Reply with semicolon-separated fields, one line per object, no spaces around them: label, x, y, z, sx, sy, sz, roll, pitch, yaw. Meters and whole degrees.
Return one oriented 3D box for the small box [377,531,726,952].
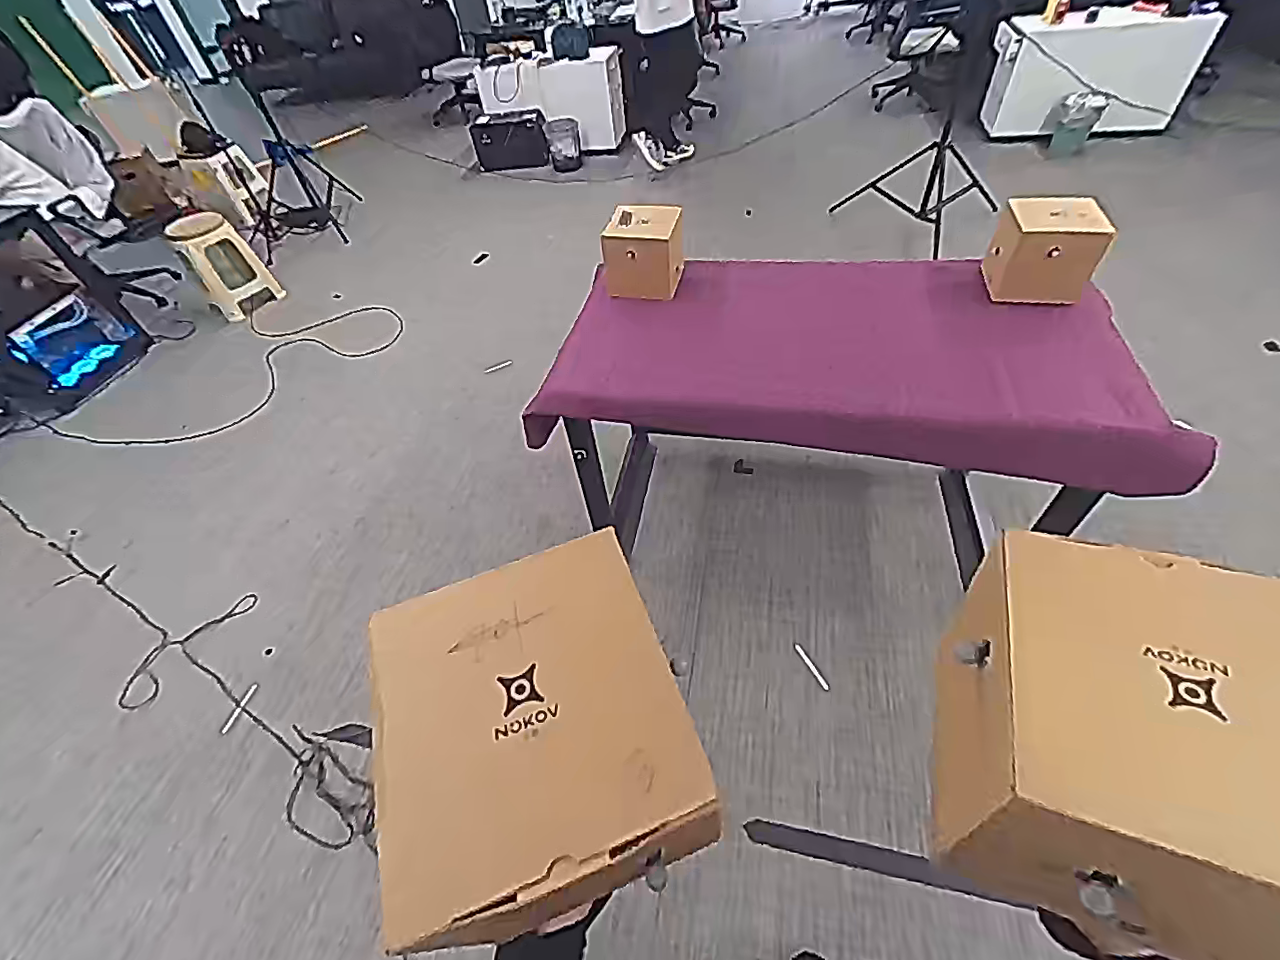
small box;-0.053;0.171;0.364;0.168;0.176;0.179;-19;51;-10

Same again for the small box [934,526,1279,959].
small box;0.296;0.161;0.337;0.168;0.176;0.179;11;48;21

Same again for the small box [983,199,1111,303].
small box;0.913;-0.522;1.239;0.179;0.176;0.168;7;51;12

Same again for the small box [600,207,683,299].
small box;0.011;-0.594;1.418;0.179;0.176;0.168;9;53;13
